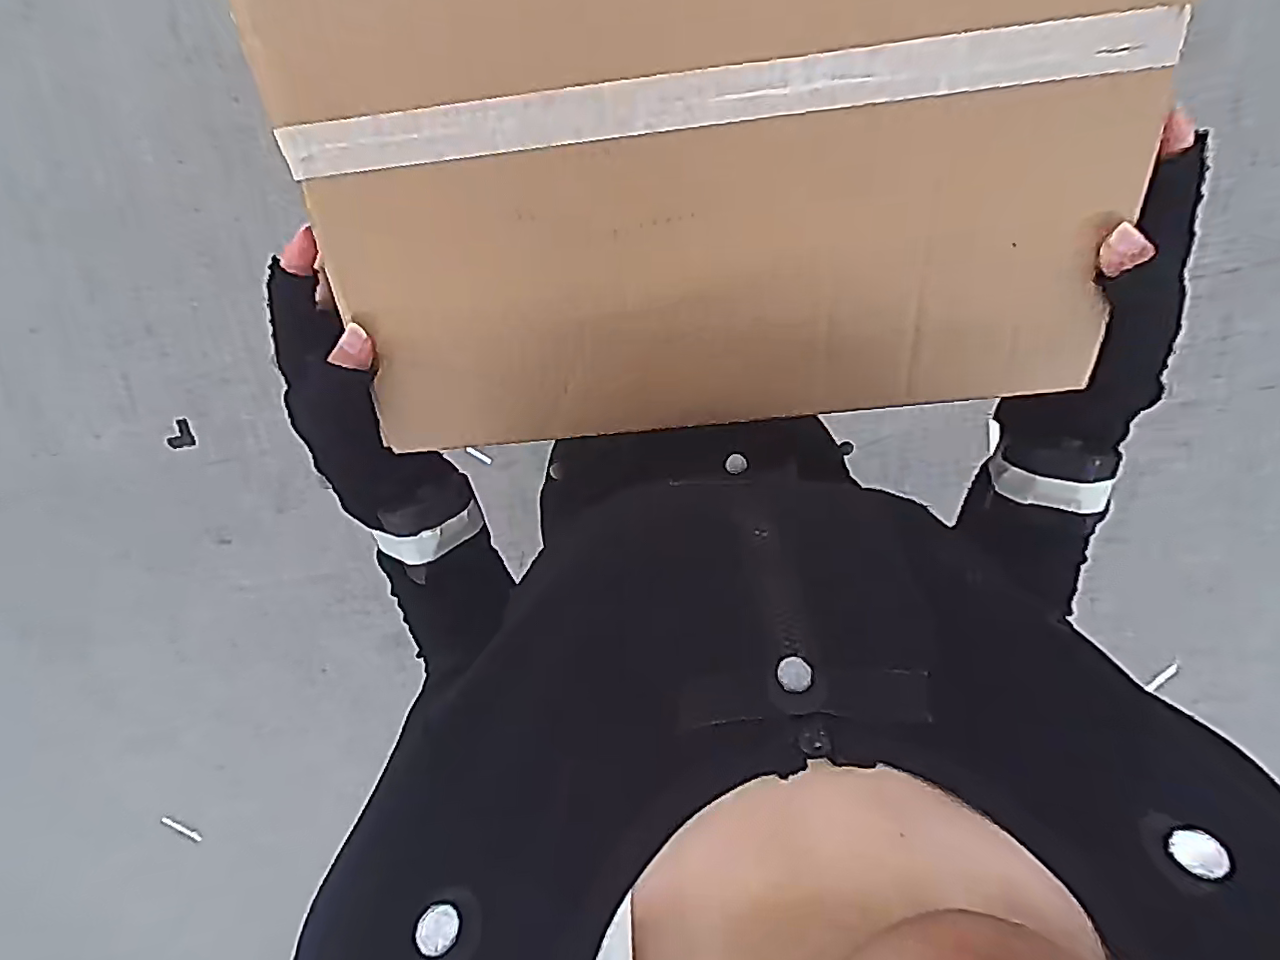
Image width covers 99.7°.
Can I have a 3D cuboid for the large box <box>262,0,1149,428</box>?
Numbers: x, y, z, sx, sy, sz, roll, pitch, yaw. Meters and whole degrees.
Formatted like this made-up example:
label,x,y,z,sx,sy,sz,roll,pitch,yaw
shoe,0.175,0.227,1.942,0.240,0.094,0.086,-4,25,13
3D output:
label,x,y,z,sx,sy,sz,roll,pitch,yaw
large box,0.031,-0.254,0.390,0.408,0.320,0.320,-5,118,3
